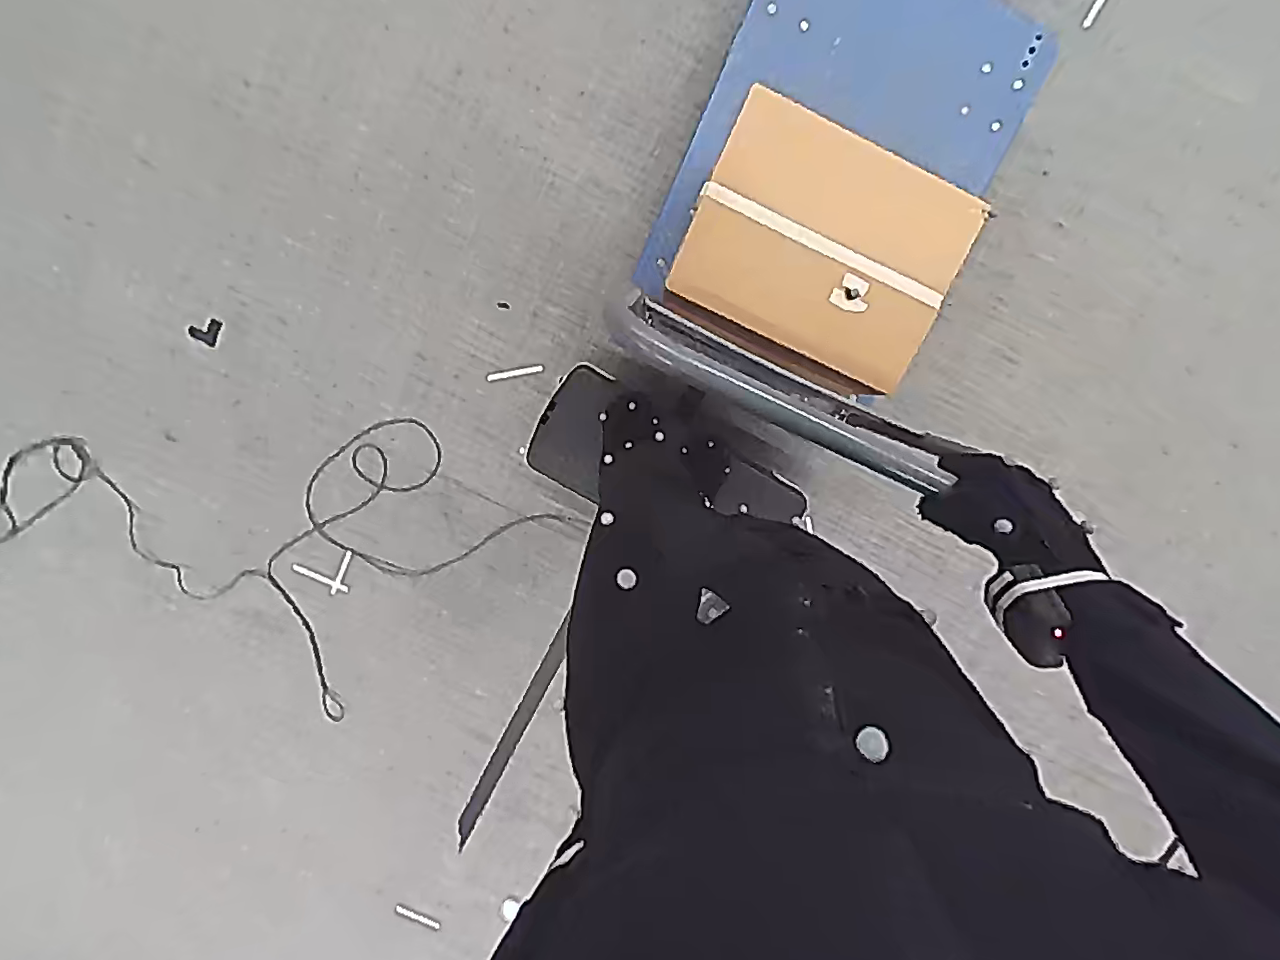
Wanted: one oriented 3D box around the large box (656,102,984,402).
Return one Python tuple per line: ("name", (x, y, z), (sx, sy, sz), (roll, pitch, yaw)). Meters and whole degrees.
("large box", (0.273, -0.362, 0.964), (0.408, 0.320, 0.320), (24, 100, -5))
